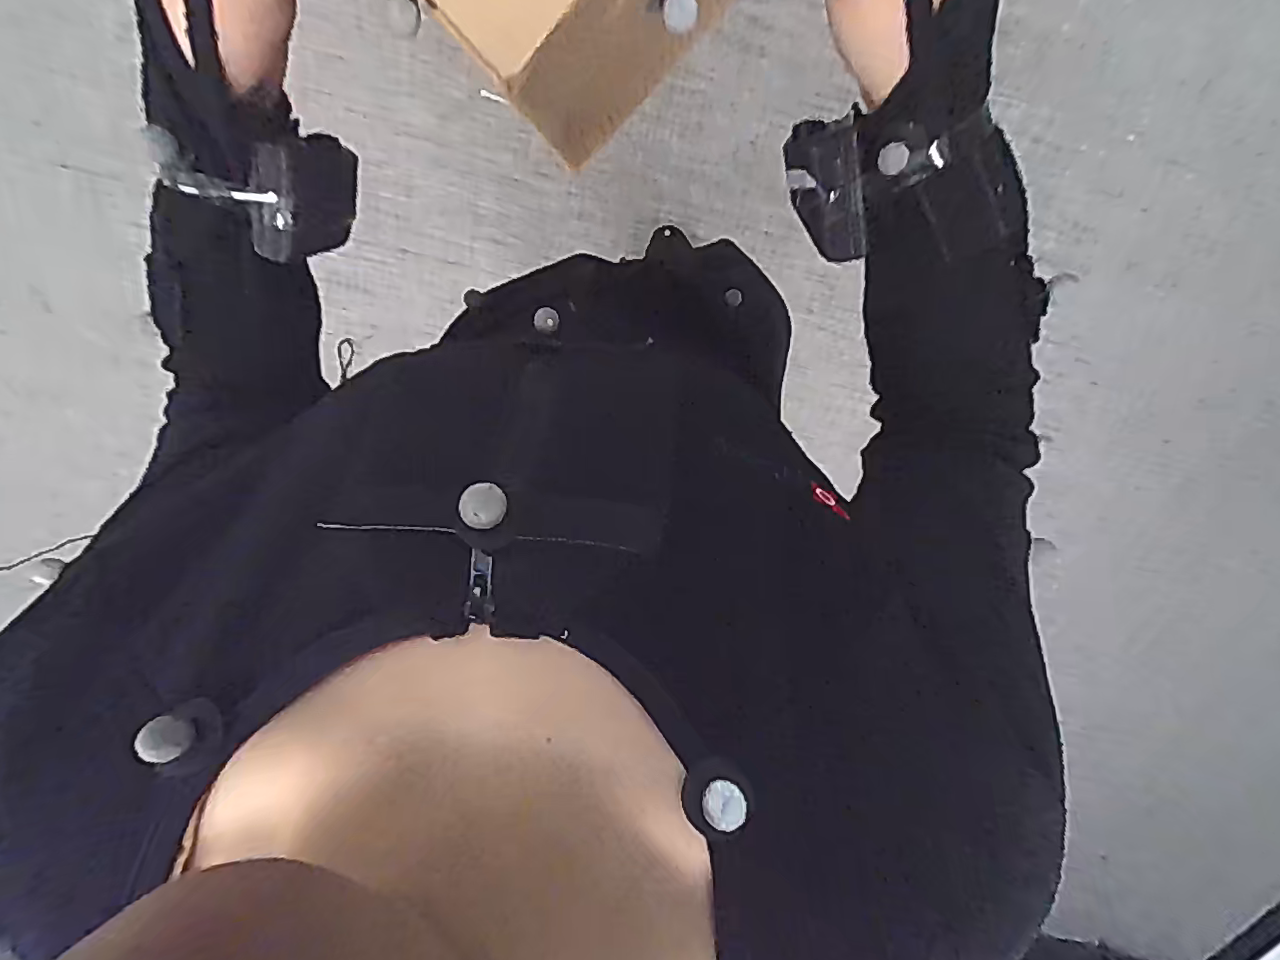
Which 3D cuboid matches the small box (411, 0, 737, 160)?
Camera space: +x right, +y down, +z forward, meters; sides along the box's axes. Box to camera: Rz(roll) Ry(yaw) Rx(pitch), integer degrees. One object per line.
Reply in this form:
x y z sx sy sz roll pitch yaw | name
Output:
-0.031 -0.262 0.209 0.179 0.176 0.168 -41 105 17 | small box
